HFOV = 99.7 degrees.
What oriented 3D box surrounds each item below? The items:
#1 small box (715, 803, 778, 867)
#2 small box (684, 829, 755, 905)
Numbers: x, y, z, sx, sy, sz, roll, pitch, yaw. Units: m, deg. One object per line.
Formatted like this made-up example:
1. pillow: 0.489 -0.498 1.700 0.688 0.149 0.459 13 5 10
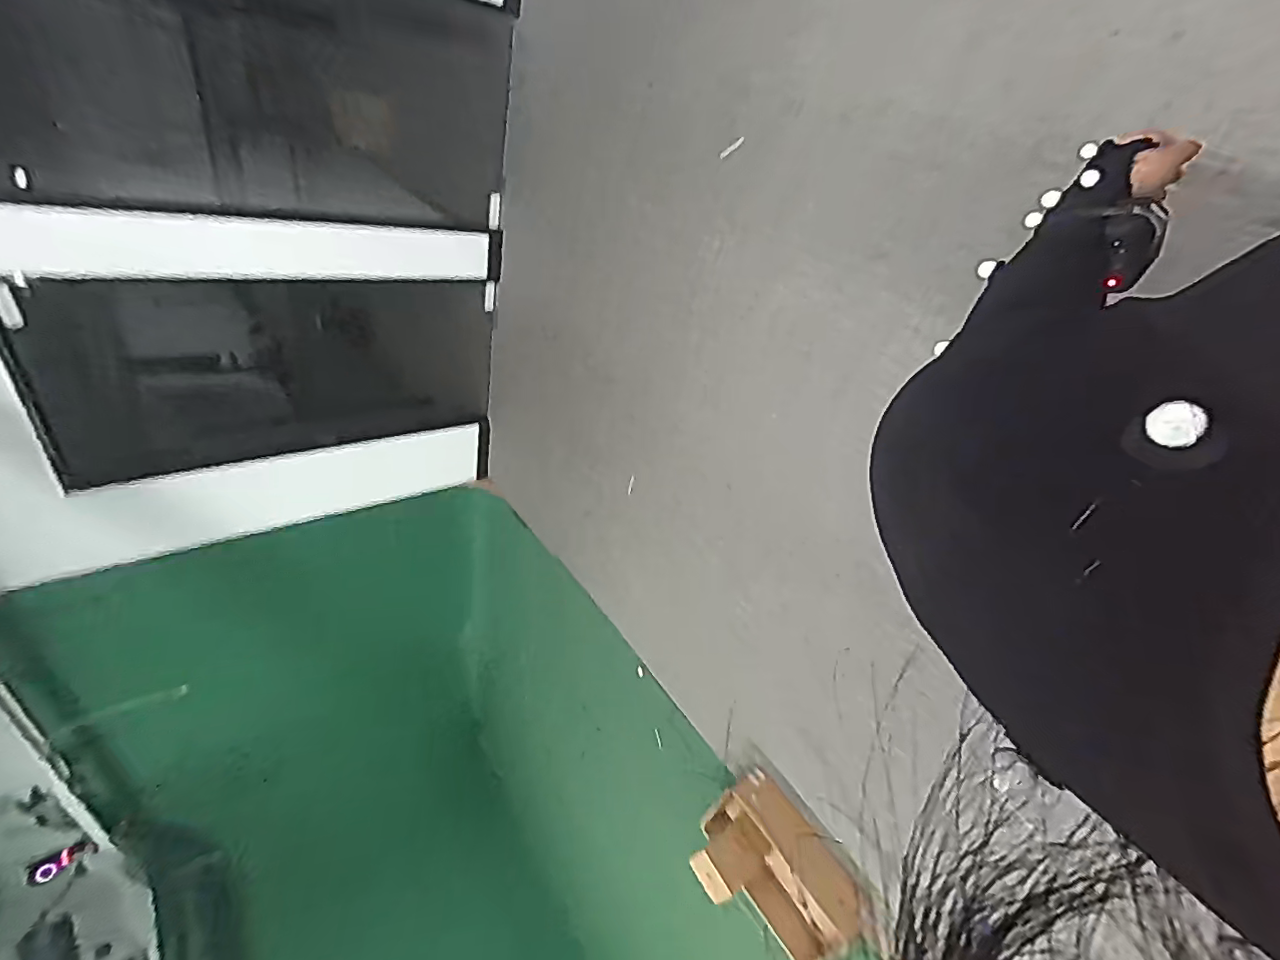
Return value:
1. small box: 0.436 1.483 2.234 0.168 0.176 0.179 50 134 27
2. small box: 0.314 1.514 2.129 0.179 0.176 0.168 50 136 26
